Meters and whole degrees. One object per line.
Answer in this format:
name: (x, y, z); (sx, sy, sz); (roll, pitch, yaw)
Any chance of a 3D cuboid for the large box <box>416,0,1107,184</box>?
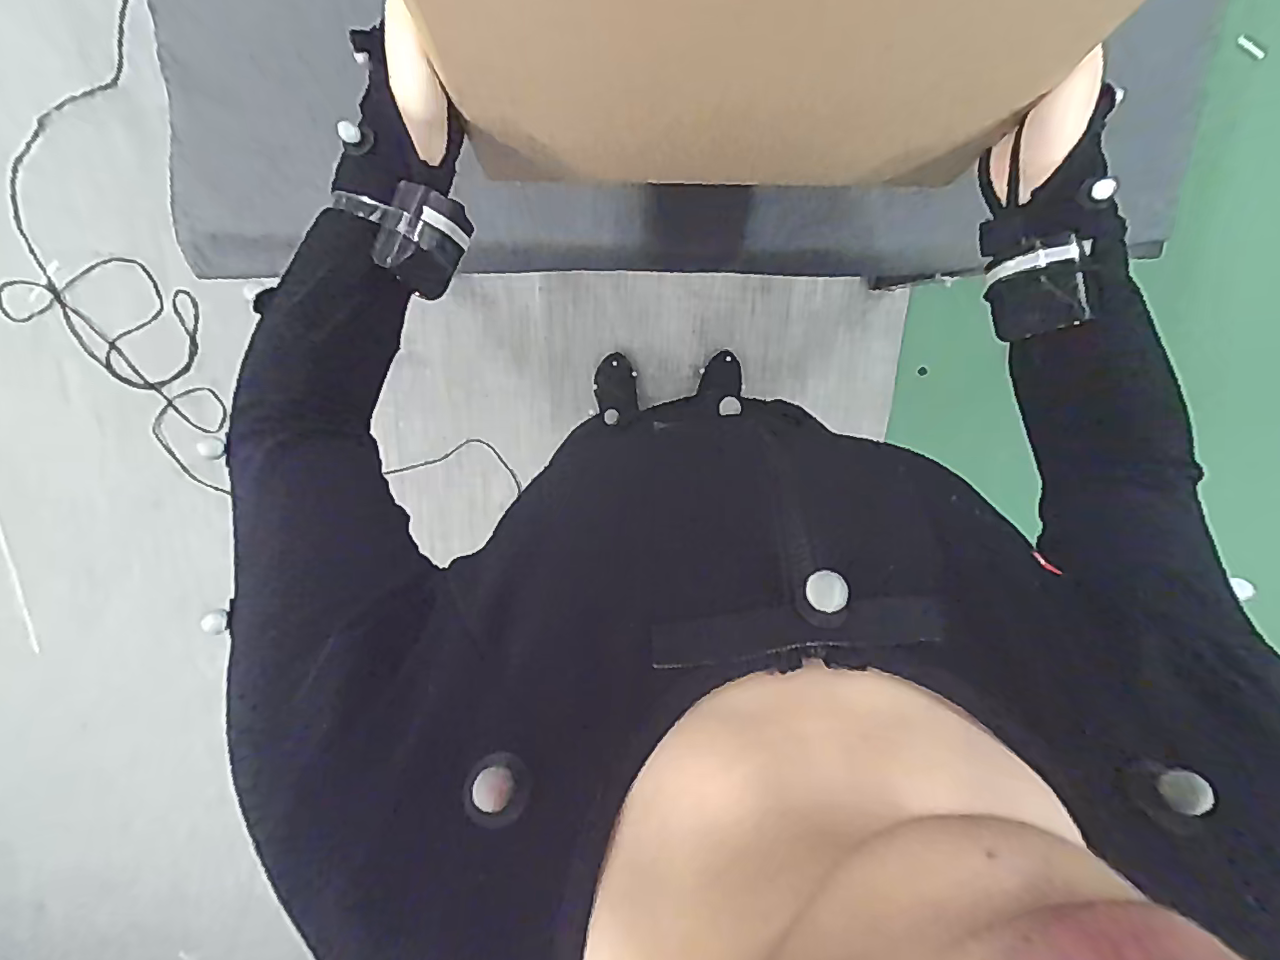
large box: (0.067, -0.416, 0.331); (0.408, 0.320, 0.320); (-1, 90, -1)
